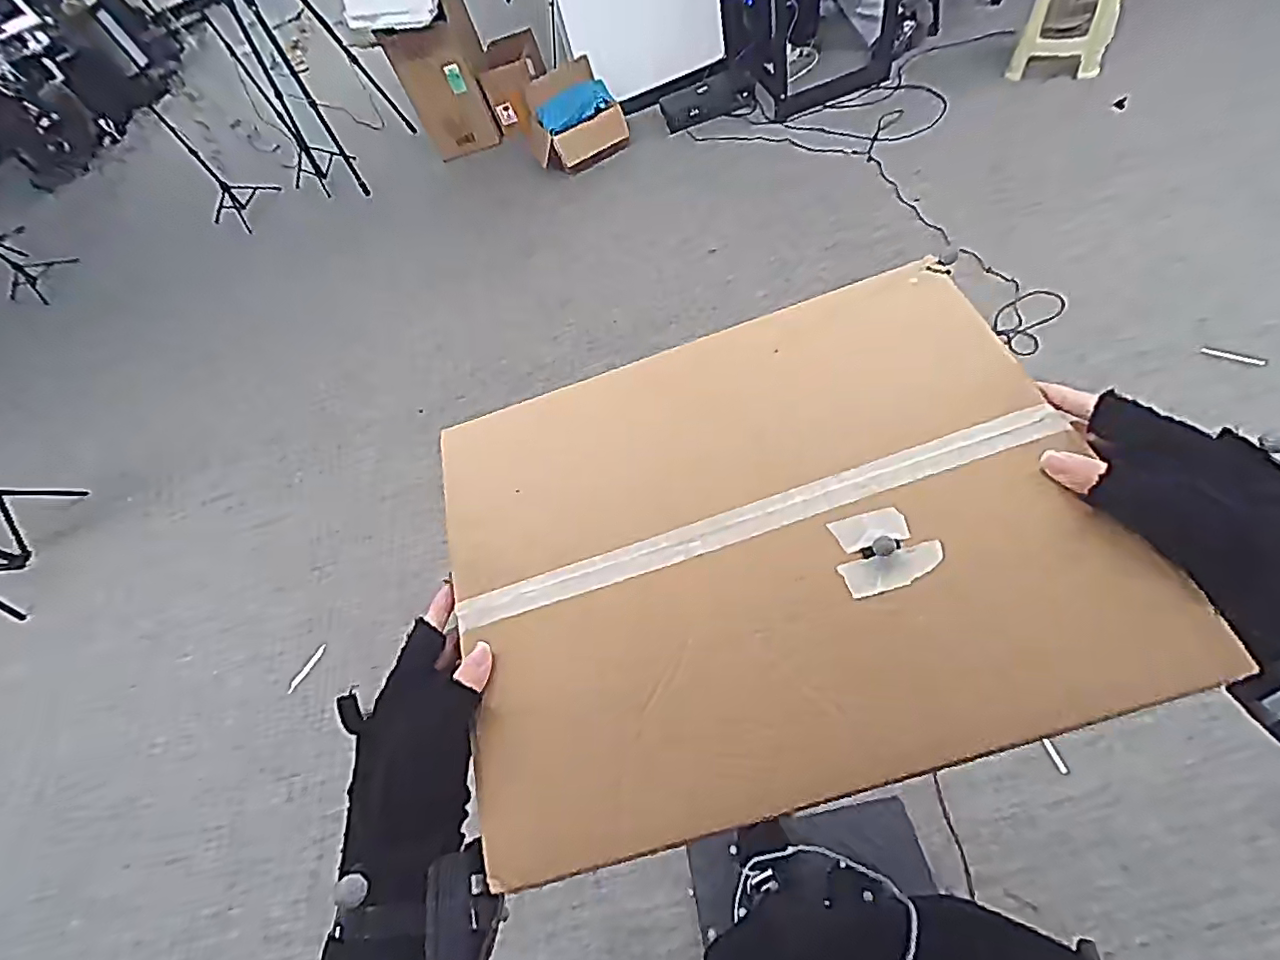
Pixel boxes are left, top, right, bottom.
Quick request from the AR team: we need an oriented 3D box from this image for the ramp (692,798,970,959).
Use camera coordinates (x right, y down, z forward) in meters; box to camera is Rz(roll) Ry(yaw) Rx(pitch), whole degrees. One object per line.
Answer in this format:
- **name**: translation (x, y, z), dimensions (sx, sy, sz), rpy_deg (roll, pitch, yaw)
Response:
- **ramp**: translation (0.411, 1.122, 0.875), dimensions (0.509, 0.206, 0.991), rpy_deg (-19, 55, 6)

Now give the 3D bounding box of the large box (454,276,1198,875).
- **large box**: translation (0.101, 0.095, 0.496), dimensions (0.408, 0.320, 0.320), rpy_deg (-19, 63, 3)
